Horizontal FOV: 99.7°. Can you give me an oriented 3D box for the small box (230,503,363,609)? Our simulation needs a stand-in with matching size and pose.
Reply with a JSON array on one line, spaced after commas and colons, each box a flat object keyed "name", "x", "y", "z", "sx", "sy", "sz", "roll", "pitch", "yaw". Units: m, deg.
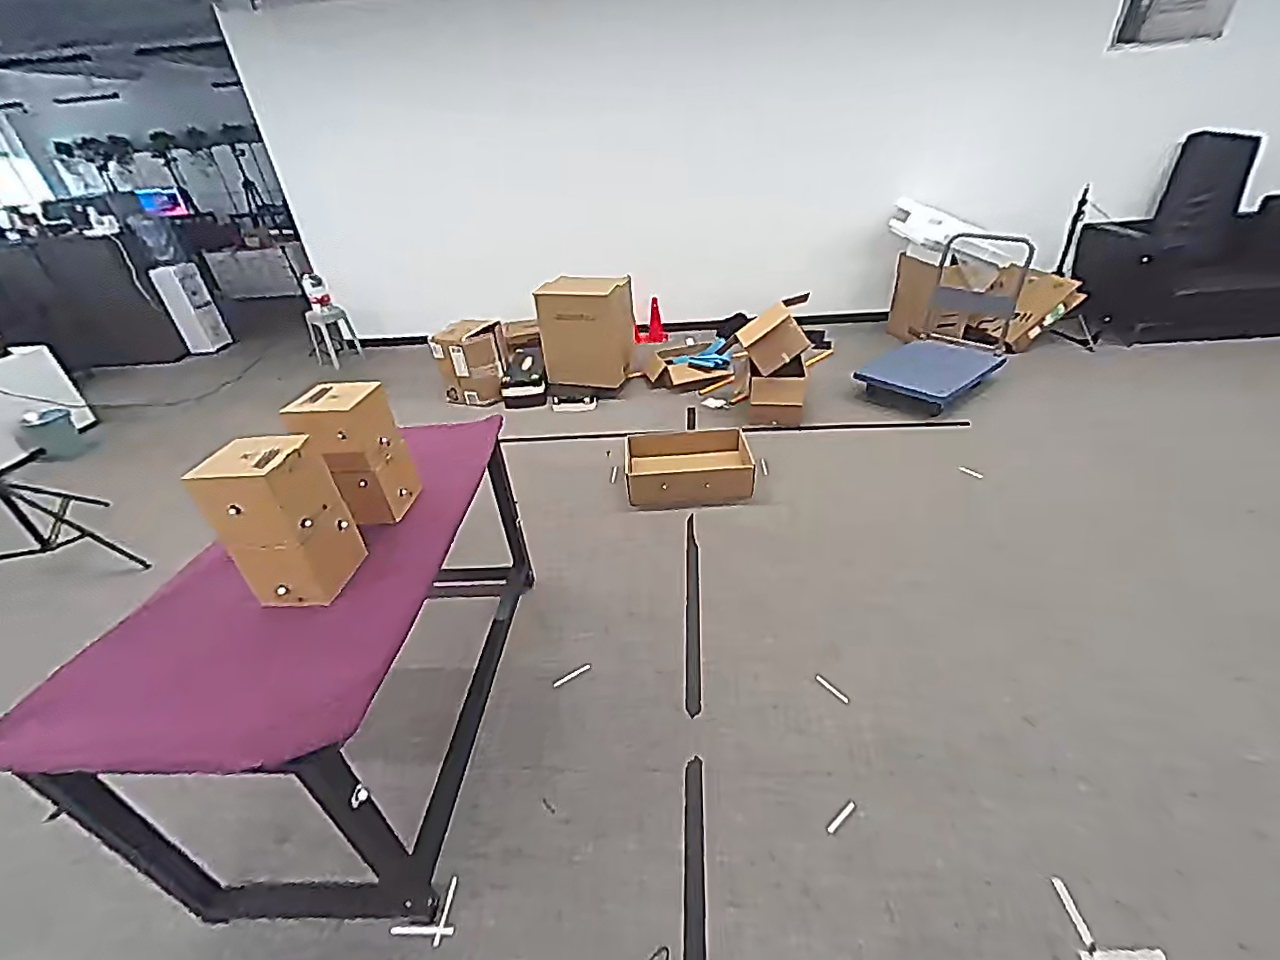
[{"name": "small box", "x": -0.753, "y": 0.168, "z": 1.213, "sx": 0.168, "sy": 0.176, "sz": 0.179, "roll": -2, "pitch": 33, "yaw": 6}]

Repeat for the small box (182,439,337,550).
[{"name": "small box", "x": -0.773, "y": 0.030, "z": 1.125, "sx": 0.179, "sy": 0.176, "sz": 0.168, "roll": -3, "pitch": 32, "yaw": 5}]

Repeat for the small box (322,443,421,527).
[{"name": "small box", "x": -0.722, "y": 0.015, "z": 1.448, "sx": 0.179, "sy": 0.176, "sz": 0.168, "roll": -2, "pitch": 33, "yaw": 6}]
